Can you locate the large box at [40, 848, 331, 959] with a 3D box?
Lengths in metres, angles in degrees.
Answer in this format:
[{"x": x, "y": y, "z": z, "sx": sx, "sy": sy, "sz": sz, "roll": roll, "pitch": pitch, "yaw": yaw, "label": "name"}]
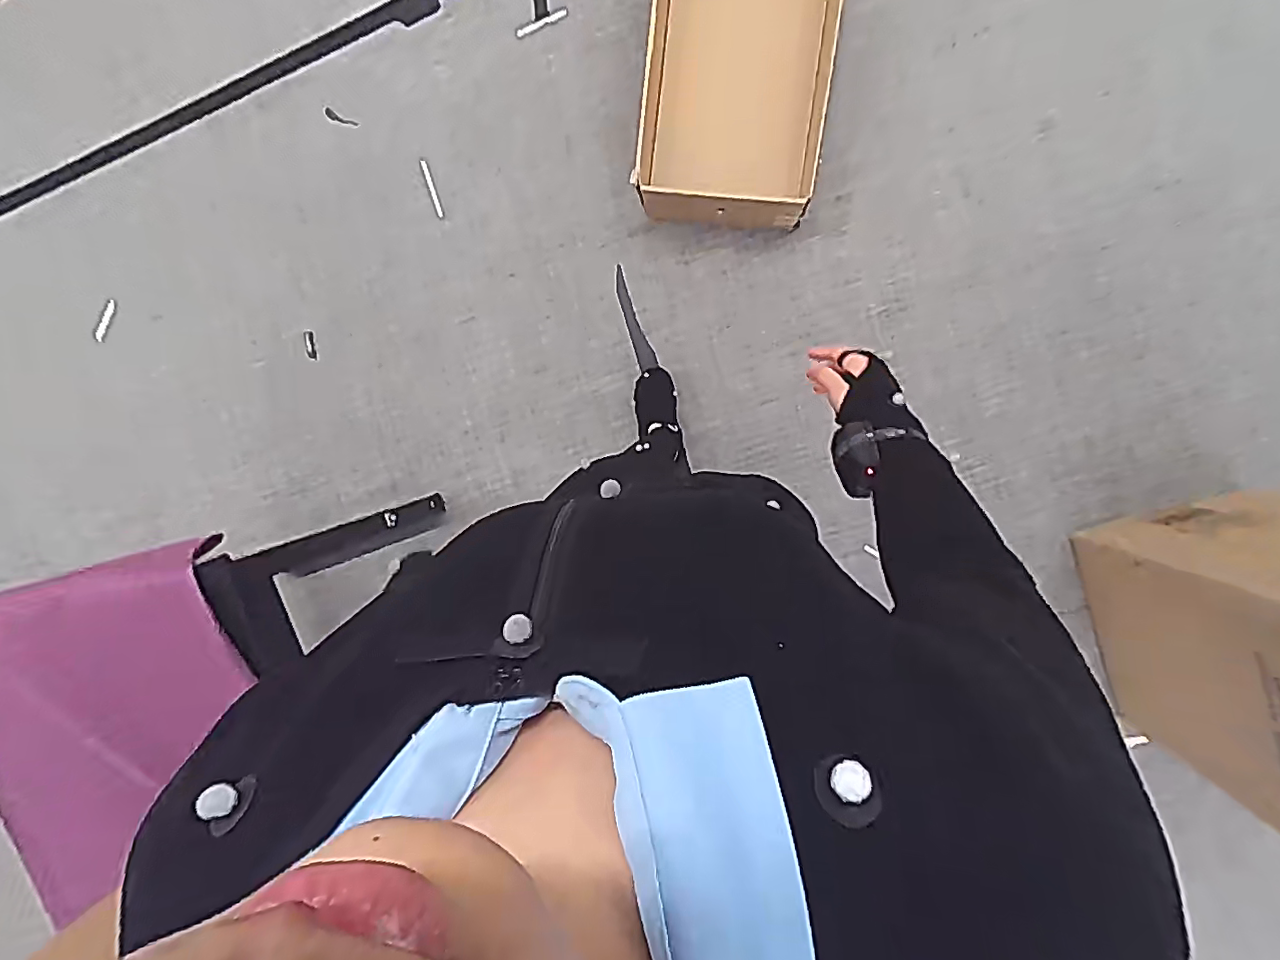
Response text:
[{"x": -0.668, "y": 0.834, "z": 0.761, "sx": 0.320, "sy": 0.320, "sz": 0.408, "roll": -17, "pitch": 96, "yaw": 10, "label": "large box"}]
